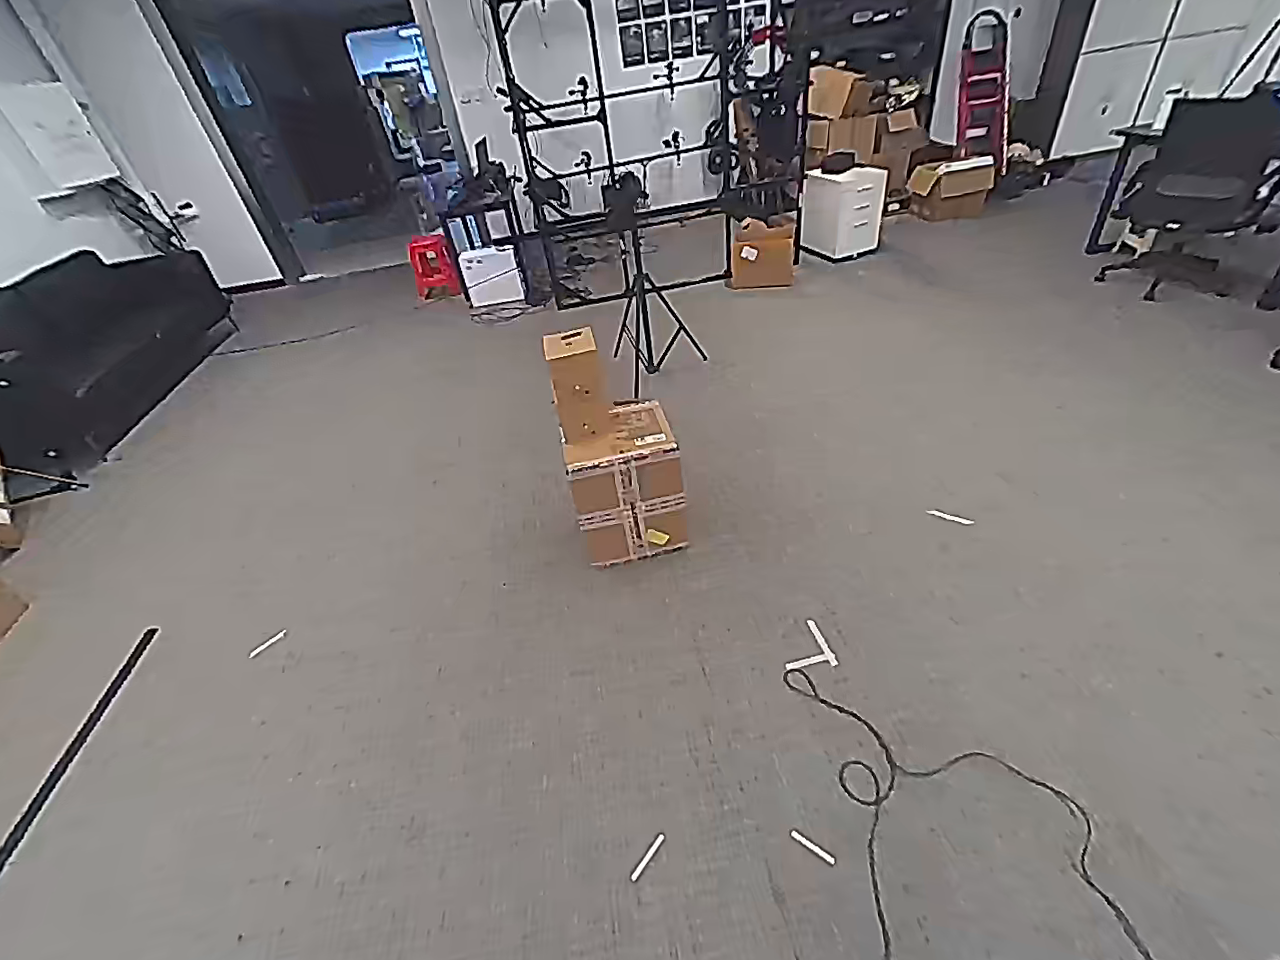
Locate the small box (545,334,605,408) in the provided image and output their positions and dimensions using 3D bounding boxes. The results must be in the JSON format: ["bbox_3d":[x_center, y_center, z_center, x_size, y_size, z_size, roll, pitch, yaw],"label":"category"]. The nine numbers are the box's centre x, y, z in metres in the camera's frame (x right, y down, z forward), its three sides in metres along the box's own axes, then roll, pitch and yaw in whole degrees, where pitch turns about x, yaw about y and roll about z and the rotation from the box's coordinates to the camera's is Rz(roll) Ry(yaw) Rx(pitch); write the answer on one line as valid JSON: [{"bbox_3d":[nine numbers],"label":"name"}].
[{"bbox_3d":[-0.220,-0.368,1.828,0.168,0.176,0.179,-14,40,-2],"label":"small box"}]

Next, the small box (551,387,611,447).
[{"bbox_3d":[-0.211,-0.243,1.935,0.168,0.176,0.179,-16,40,-5],"label":"small box"}]
